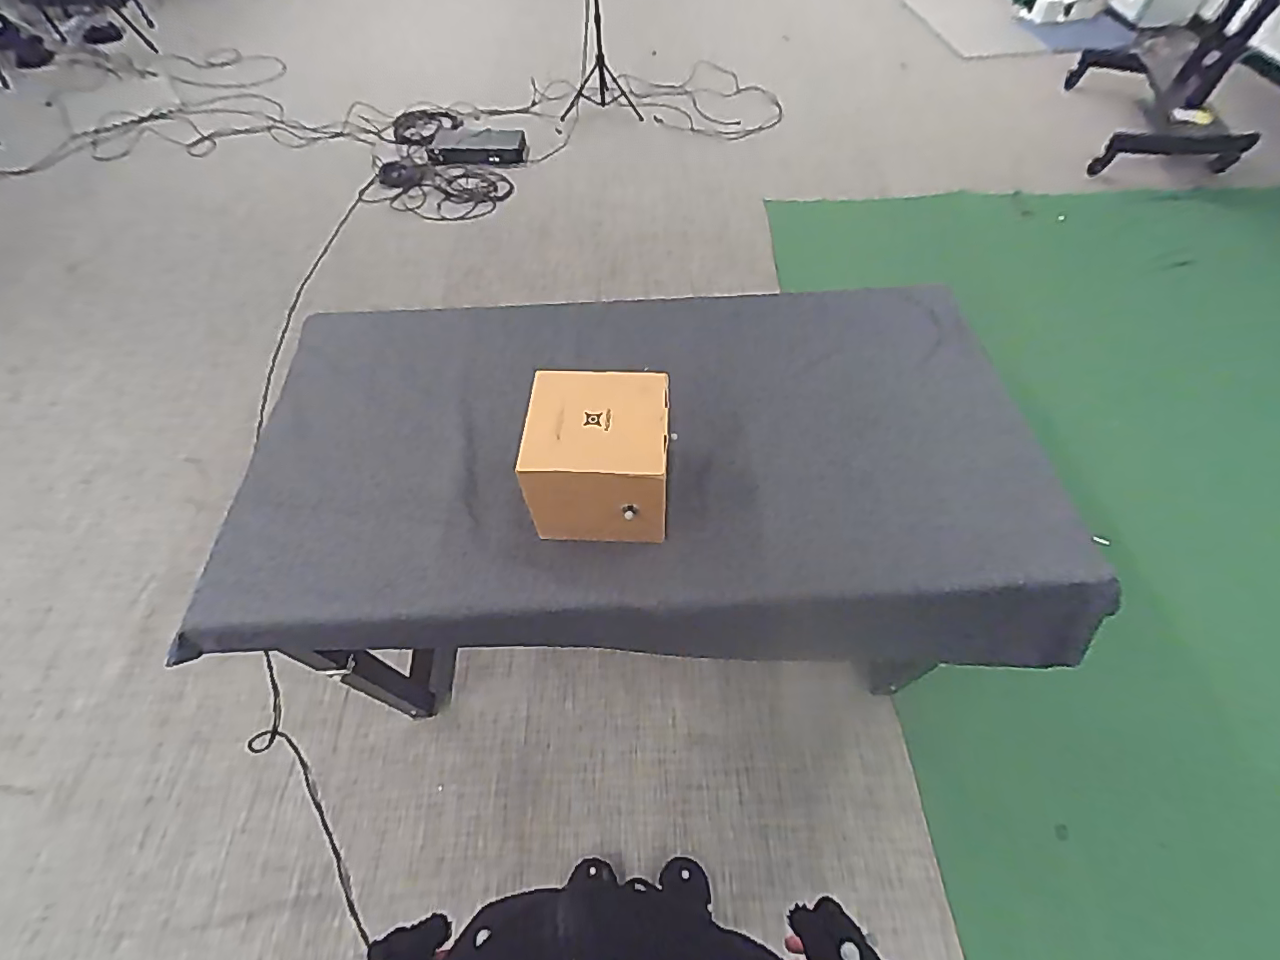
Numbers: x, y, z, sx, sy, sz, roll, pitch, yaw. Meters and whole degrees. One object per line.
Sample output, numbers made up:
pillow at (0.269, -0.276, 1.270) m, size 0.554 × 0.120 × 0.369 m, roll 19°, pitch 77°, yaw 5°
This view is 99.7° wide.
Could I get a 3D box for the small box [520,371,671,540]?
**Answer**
small box at (-0.048, -0.029, 0.735) m, size 0.179 × 0.176 × 0.168 m, roll 1°, pitch 55°, yaw 3°
